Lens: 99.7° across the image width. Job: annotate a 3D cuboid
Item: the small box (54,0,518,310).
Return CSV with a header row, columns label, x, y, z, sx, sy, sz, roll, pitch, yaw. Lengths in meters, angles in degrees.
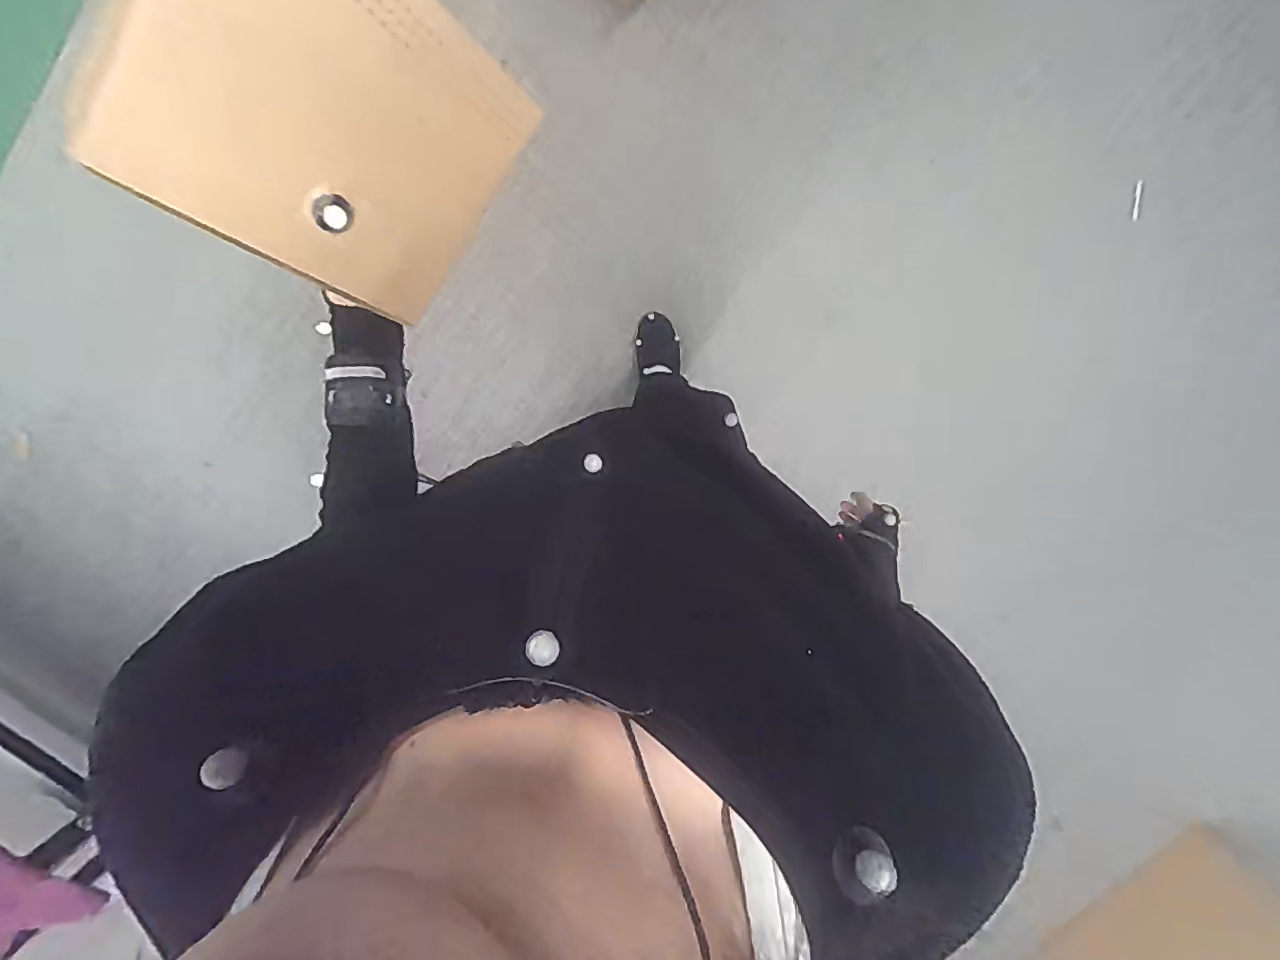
label,x,y,z,sx,sy,sz,roll,pitch,yaw
small box,-0.208,-0.244,0.332,0.168,0.179,0.176,45,105,34
